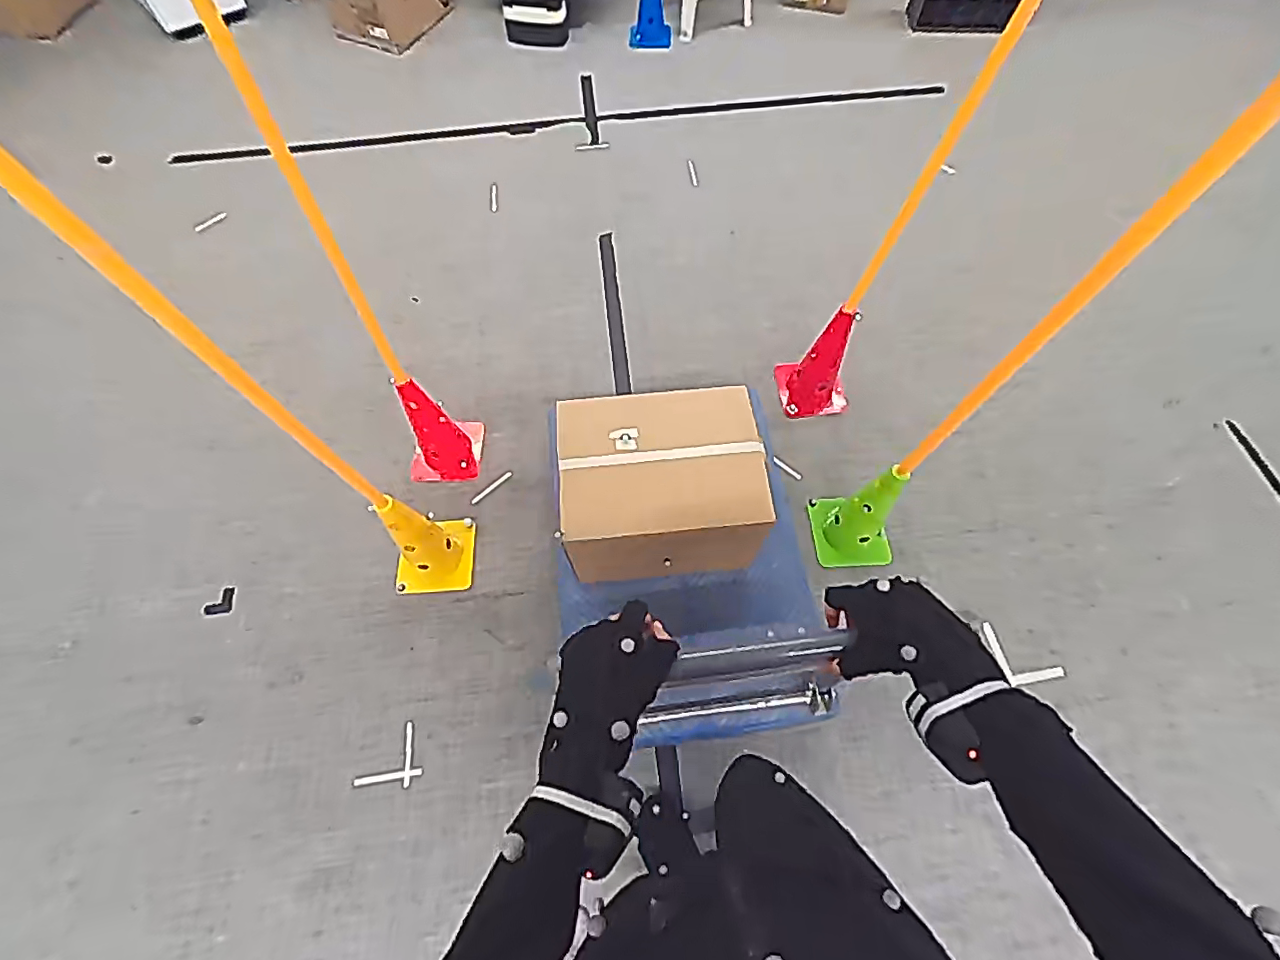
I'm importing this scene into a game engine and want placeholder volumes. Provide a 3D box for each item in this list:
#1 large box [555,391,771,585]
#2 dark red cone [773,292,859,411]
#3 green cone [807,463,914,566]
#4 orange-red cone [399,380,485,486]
[{"bbox_3d":[0.040,0.031,1.213,0.408,0.320,0.320,-6,64,-1],"label":"large box"},{"bbox_3d":[0.535,-0.376,1.549,0.201,0.394,0.202,-6,64,-4],"label":"dark red cone"},{"bbox_3d":[0.578,0.064,1.348,0.202,0.368,0.200,-3,63,-2],"label":"green cone"},{"bbox_3d":[-0.574,-0.151,1.477,0.198,0.360,0.199,0,62,0],"label":"orange-red cone"}]
